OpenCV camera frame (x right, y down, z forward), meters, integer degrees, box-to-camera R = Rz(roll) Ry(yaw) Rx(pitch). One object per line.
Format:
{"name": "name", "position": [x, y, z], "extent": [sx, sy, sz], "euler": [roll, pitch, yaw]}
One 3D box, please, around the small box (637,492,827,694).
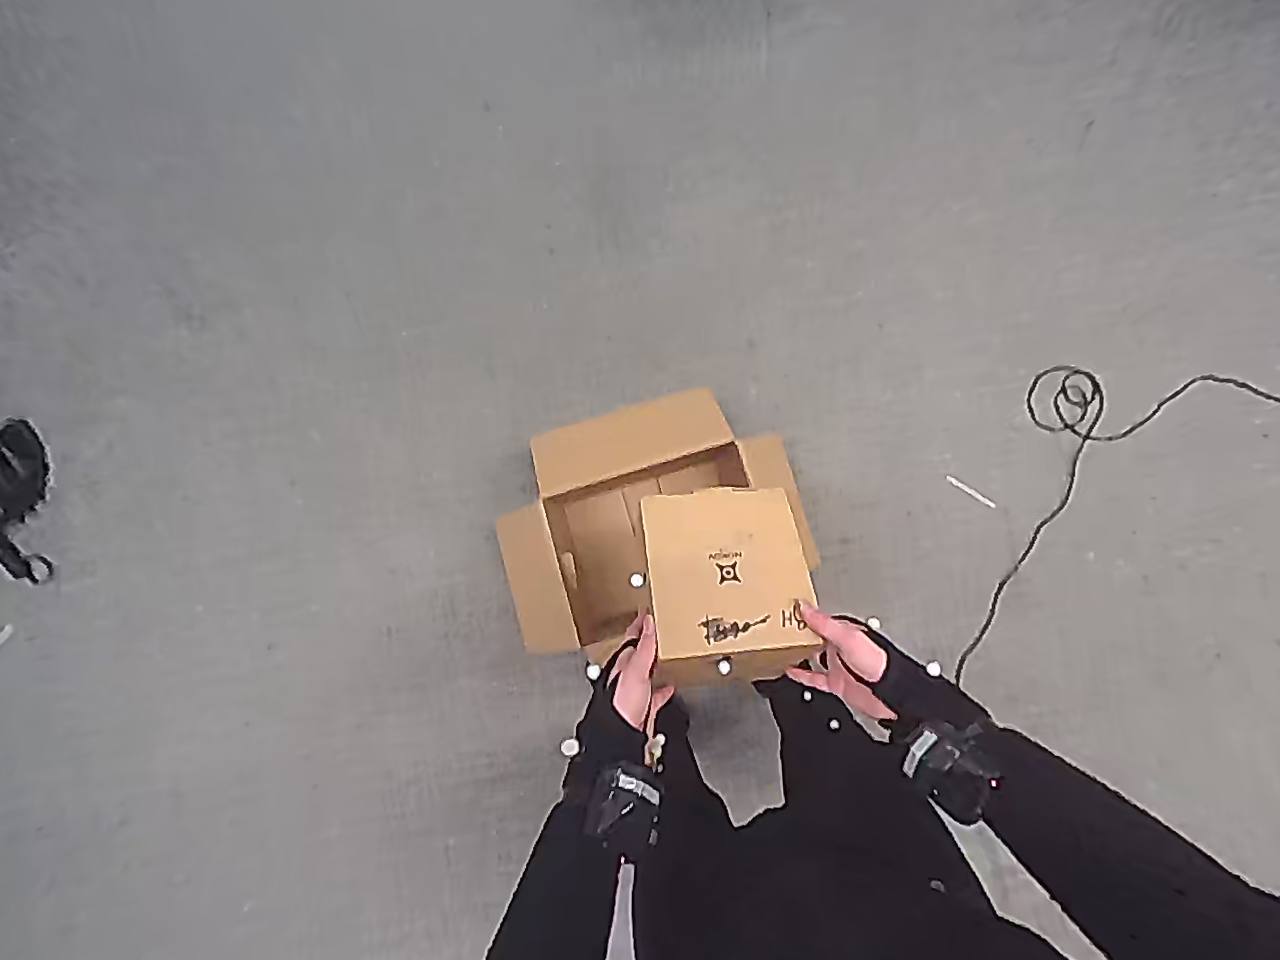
{"name": "small box", "position": [0.088, 0.134, 0.625], "extent": [0.168, 0.176, 0.179], "euler": [-4, 59, -5]}
